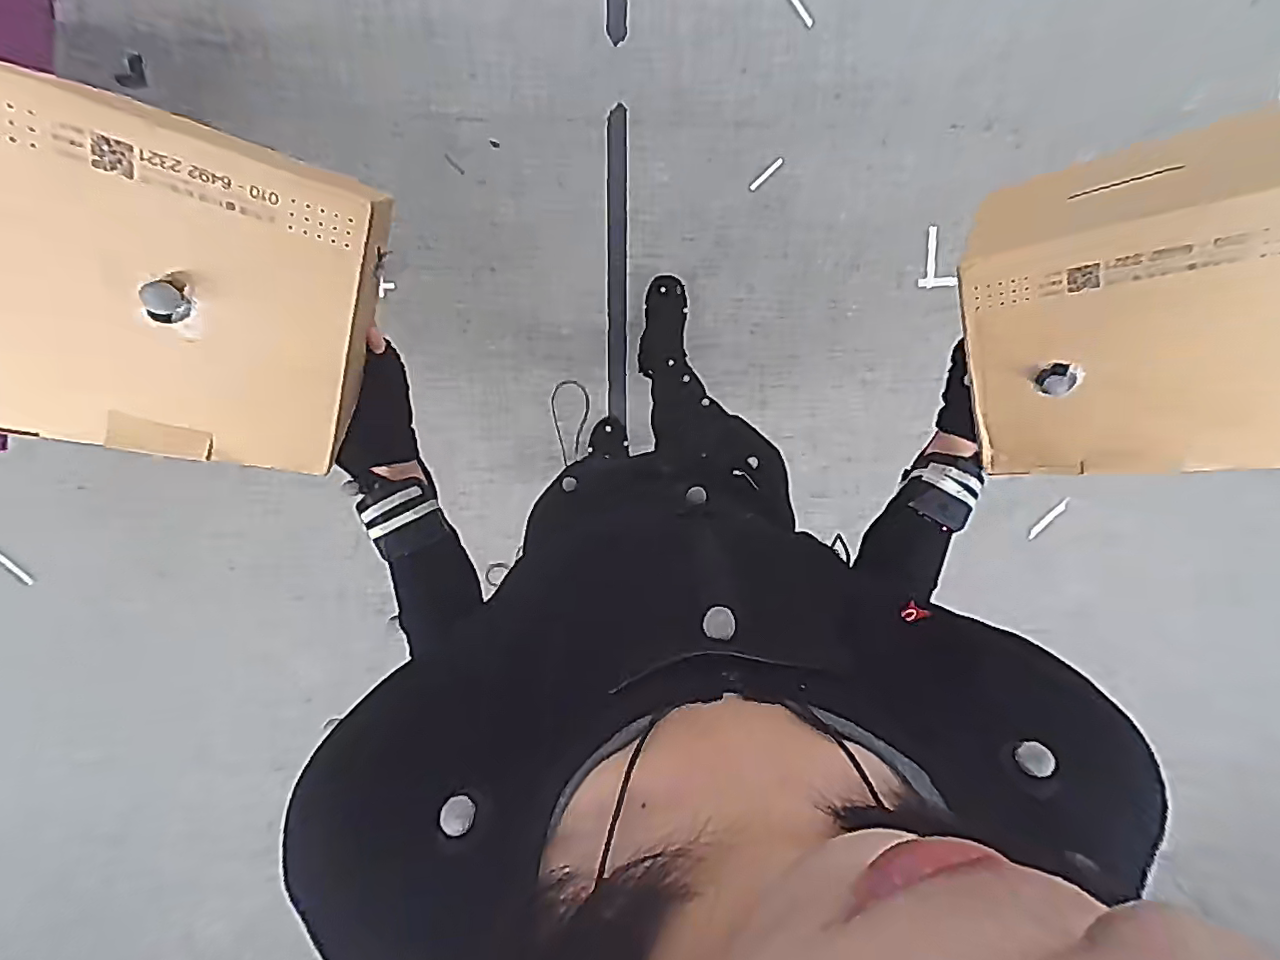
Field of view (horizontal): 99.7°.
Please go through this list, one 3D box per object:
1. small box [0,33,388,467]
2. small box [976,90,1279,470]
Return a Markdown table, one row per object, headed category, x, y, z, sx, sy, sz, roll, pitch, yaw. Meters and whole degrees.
| category | x | y | z | sx | sy | sz | roll | pitch | yaw |
| --- | --- | --- | --- | --- | --- | --- | --- | --- | --- |
| small box | -0.259 | -0.129 | 0.329 | 0.168 | 0.179 | 0.176 | 11 | 111 | -26 |
| small box | 0.333 | -0.125 | 0.360 | 0.168 | 0.179 | 0.176 | 0 | 126 | 38 |
